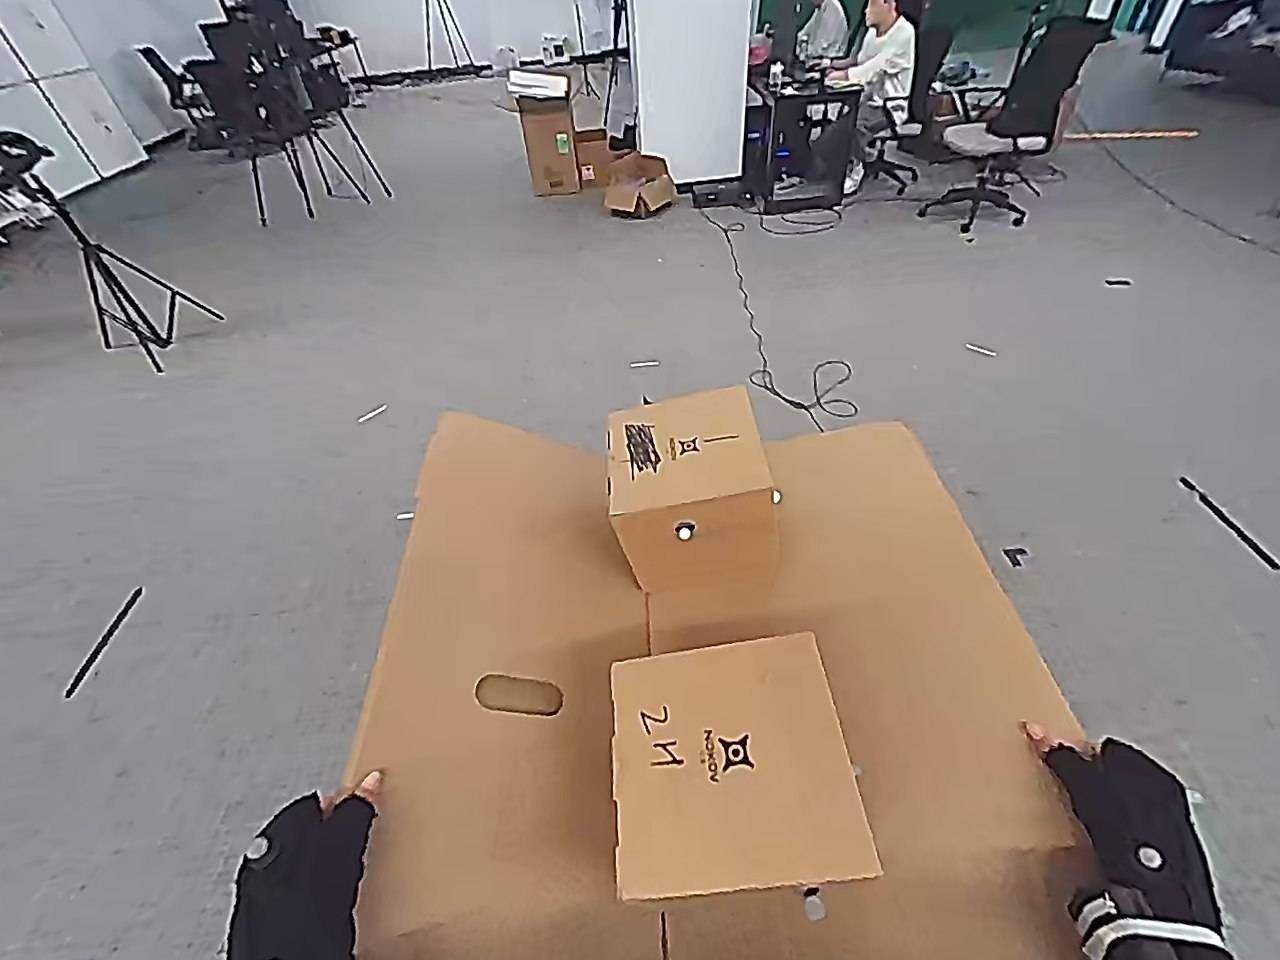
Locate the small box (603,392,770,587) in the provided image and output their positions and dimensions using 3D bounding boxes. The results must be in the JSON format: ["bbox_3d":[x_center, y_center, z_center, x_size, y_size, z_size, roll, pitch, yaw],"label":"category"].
[{"bbox_3d":[0.060,0.019,0.686,0.179,0.176,0.168,-11,48,8],"label":"small box"}]

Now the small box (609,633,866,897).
[{"bbox_3d":[0.079,0.256,0.477,0.179,0.176,0.168,-12,48,9],"label":"small box"}]
